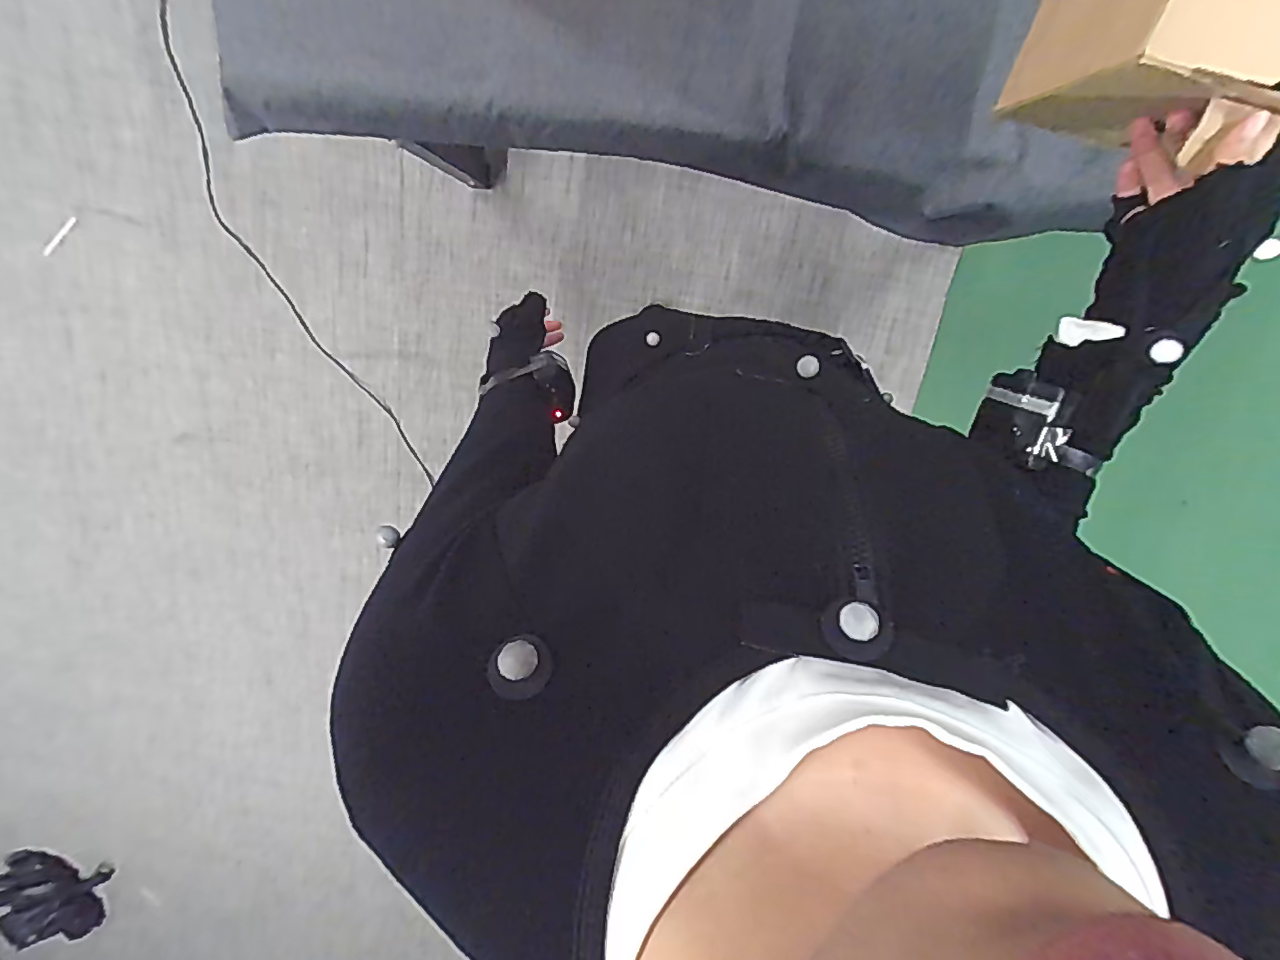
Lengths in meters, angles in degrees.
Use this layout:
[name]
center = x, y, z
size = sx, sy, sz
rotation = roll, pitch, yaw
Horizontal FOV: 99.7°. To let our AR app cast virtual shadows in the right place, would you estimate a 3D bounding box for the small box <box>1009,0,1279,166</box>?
[small box]
center = 0.376, -0.314, 0.336
size = 0.168, 0.176, 0.179
rotation = 14, 116, -1
